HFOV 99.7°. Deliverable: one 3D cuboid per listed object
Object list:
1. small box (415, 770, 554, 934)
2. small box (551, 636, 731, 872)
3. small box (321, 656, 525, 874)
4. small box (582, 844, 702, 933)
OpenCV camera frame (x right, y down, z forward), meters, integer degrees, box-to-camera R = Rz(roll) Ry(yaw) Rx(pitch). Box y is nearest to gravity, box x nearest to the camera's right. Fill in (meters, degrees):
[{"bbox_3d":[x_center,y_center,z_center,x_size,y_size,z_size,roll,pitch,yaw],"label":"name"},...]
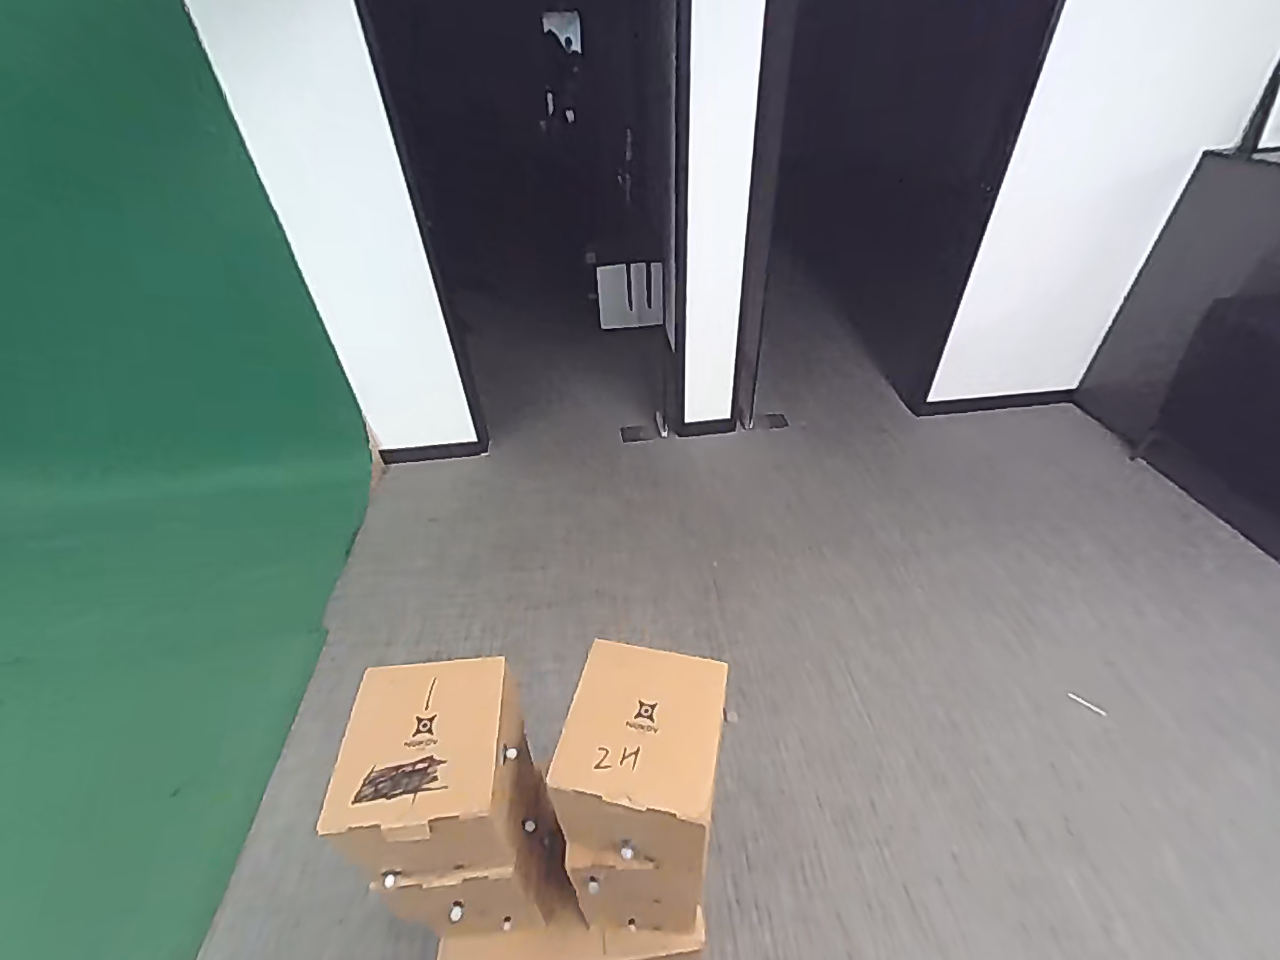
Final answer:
[{"bbox_3d":[-0.228,0.585,0.847,0.168,0.176,0.179,-3,40,-3],"label":"small box"},{"bbox_3d":[0.010,0.318,0.636,0.168,0.176,0.179,7,40,12],"label":"small box"},{"bbox_3d":[-0.231,0.335,0.633,0.168,0.176,0.179,-4,39,-5],"label":"small box"},{"bbox_3d":[0.007,0.574,0.843,0.168,0.176,0.179,-2,40,3],"label":"small box"}]
